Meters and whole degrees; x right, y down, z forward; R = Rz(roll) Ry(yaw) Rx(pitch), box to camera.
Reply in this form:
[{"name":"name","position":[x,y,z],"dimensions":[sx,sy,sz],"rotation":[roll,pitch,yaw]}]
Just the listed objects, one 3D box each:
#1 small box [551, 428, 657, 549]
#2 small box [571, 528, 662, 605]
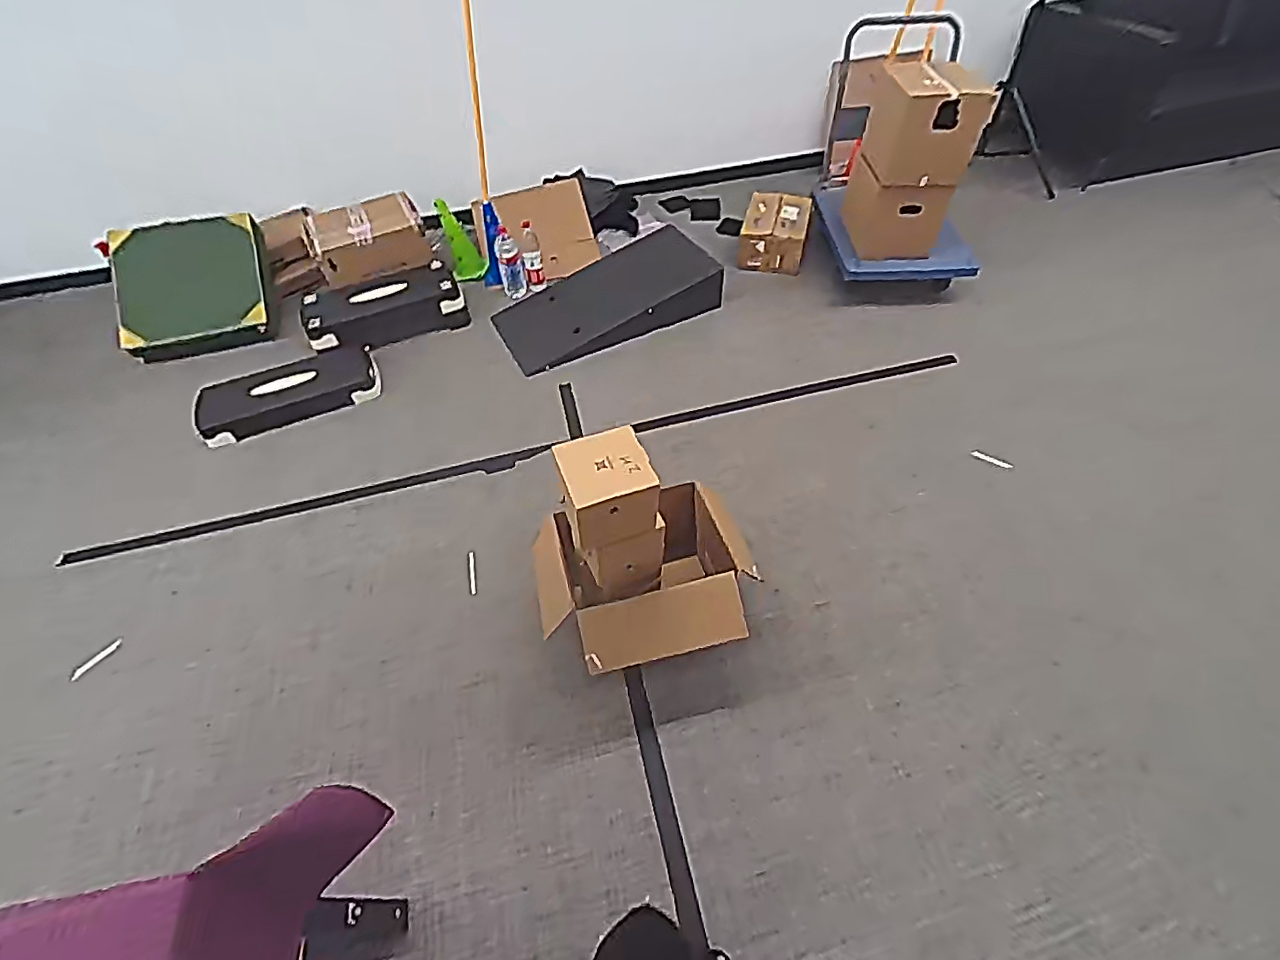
[{"name":"small box","position":[-0.074,0.022,1.133],"dimensions":[0.179,0.176,0.168],"rotation":[-17,56,-14]},{"name":"small box","position":[-0.060,0.197,1.414],"dimensions":[0.179,0.176,0.168],"rotation":[-29,59,-22]}]
